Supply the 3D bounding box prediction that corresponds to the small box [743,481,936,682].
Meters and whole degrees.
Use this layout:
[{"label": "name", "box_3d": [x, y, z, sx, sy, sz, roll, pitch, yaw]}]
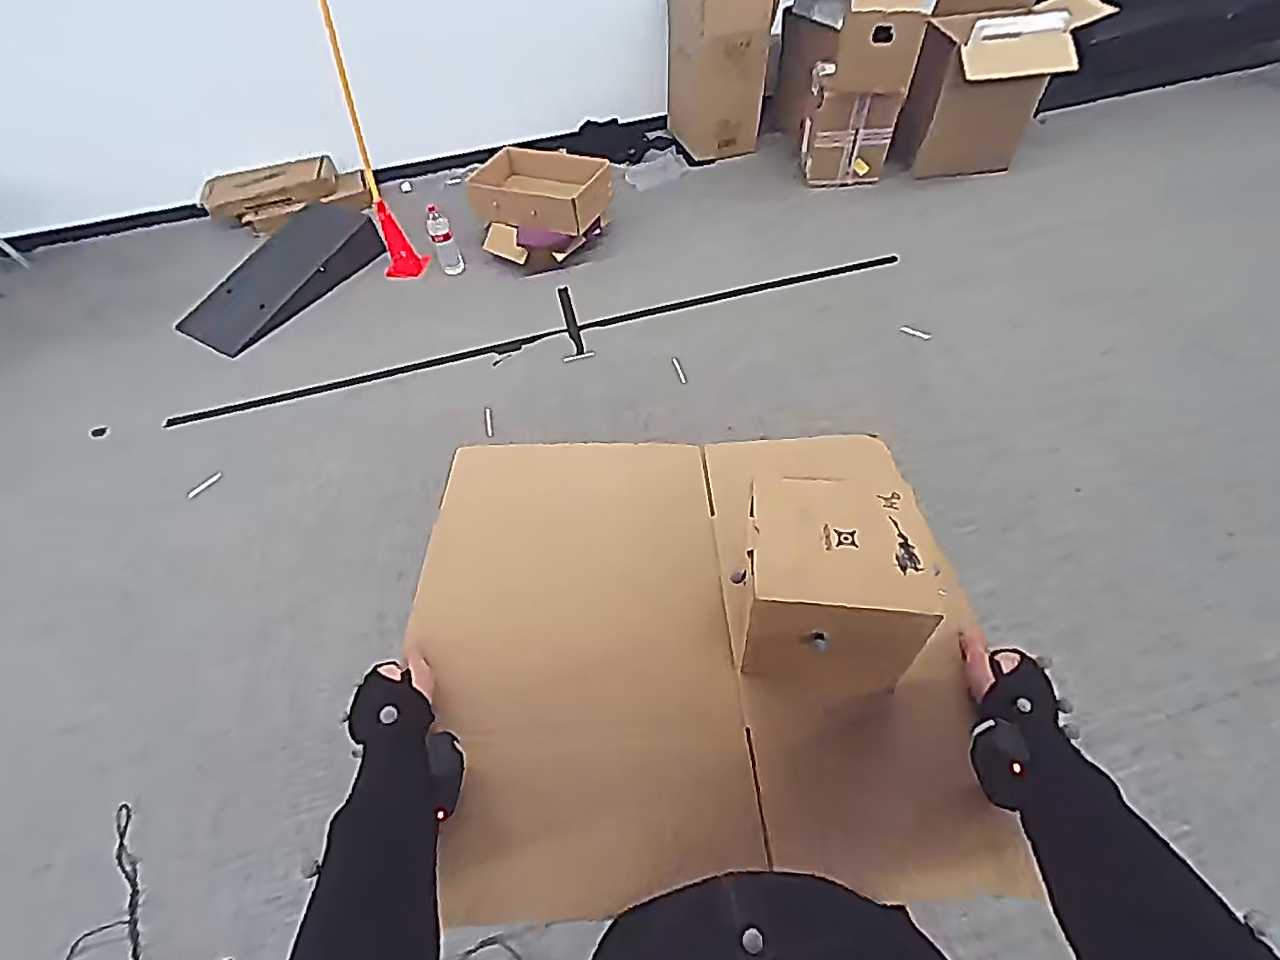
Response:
[{"label": "small box", "box_3d": [0.210, 0.119, 0.627, 0.179, 0.176, 0.168, 2, 48, 9]}]
